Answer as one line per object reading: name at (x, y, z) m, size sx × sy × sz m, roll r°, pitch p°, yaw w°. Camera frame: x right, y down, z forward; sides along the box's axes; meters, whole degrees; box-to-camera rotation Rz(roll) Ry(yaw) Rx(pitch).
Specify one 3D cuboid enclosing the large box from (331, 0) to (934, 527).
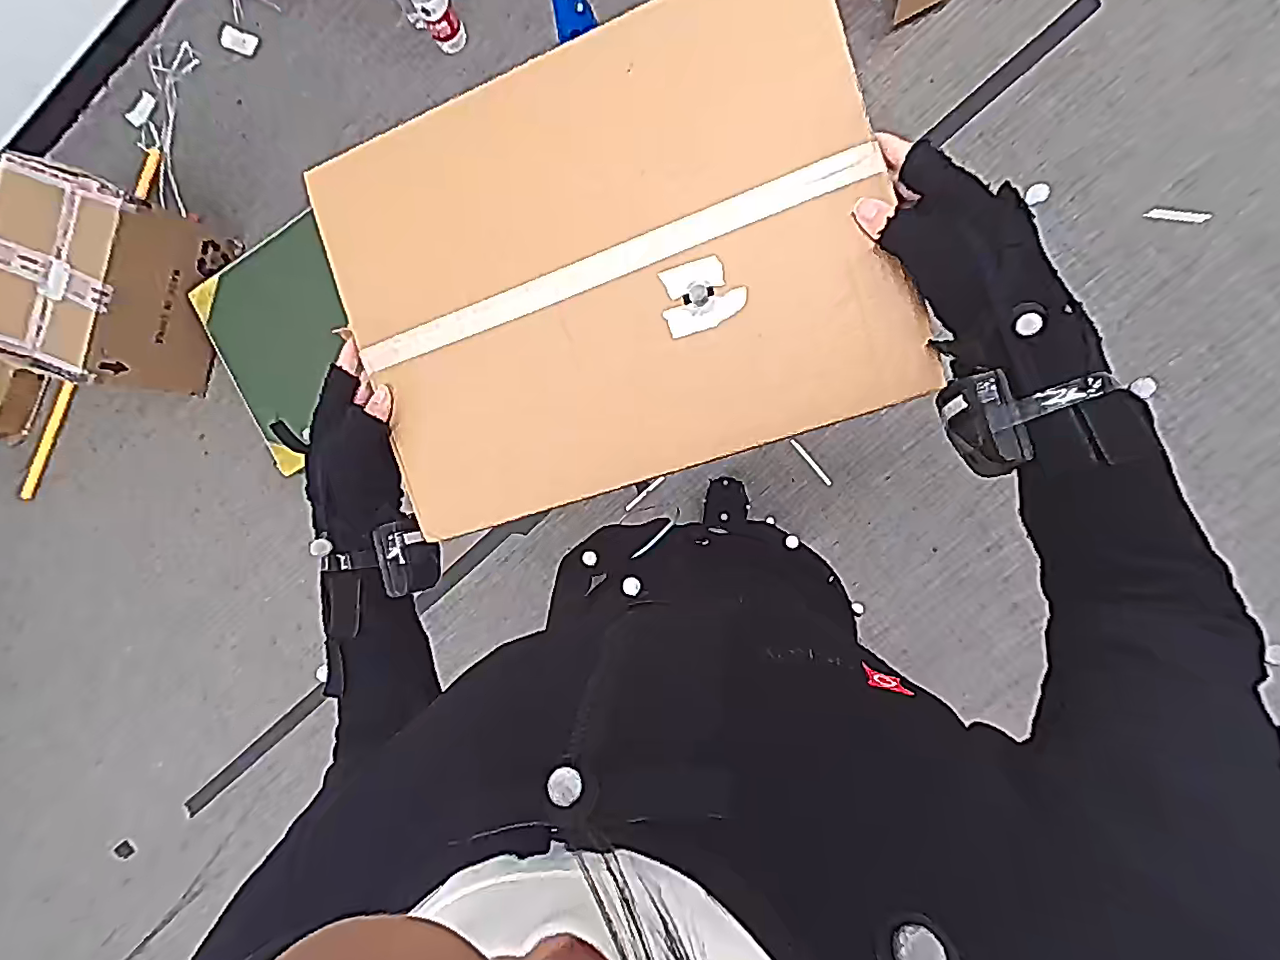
large box at (0.000, -0.175, 0.553) m, size 0.408 × 0.320 × 0.320 m, roll -17°, pitch 93°, yaw 11°
